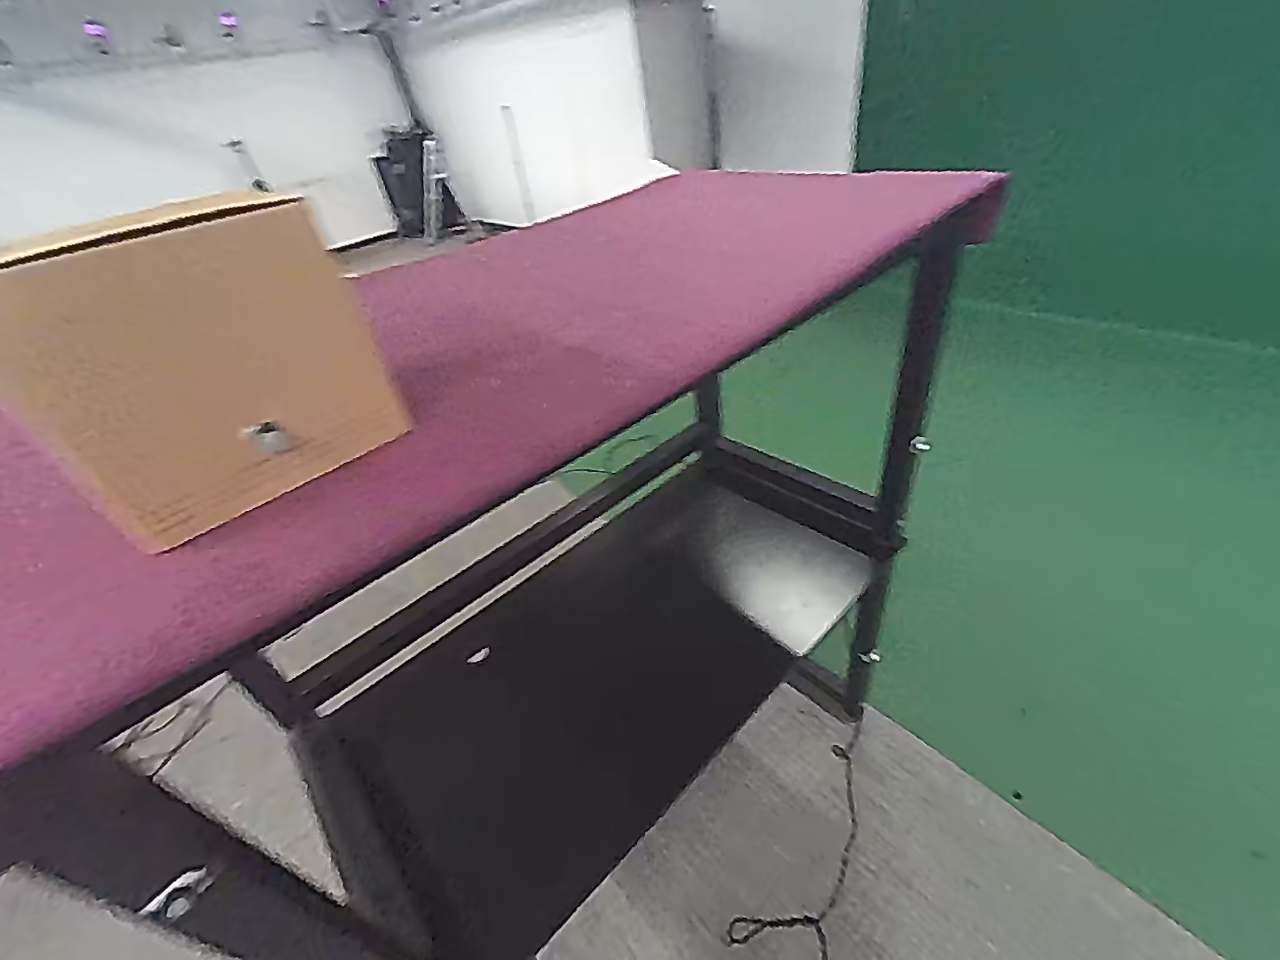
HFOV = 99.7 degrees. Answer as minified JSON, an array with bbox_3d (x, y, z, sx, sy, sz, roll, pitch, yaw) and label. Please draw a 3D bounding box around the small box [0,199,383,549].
[{"bbox_3d":[-0.310,-0.086,0.380,0.179,0.176,0.168,-35,42,-30],"label":"small box"}]
